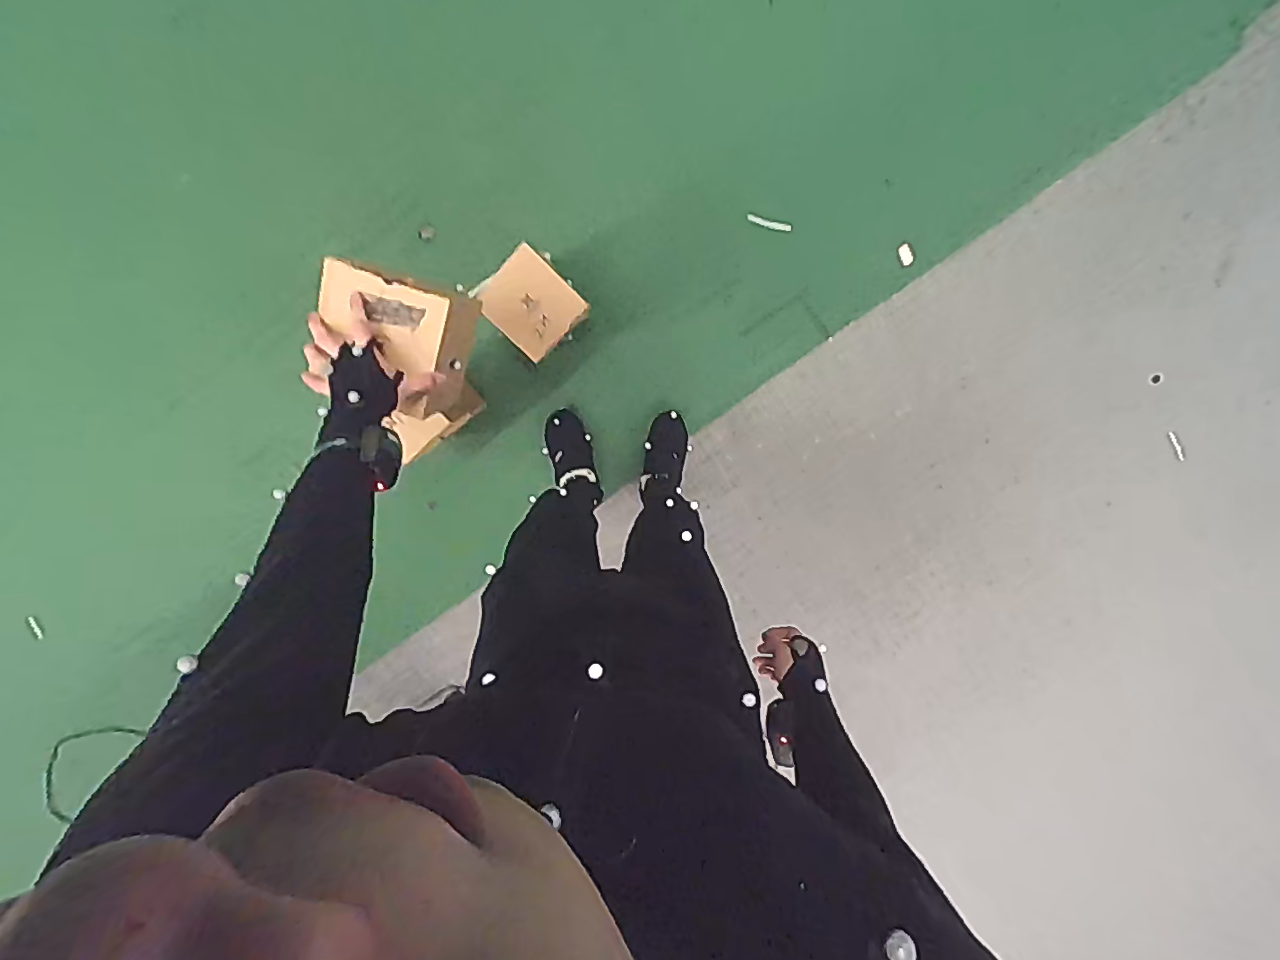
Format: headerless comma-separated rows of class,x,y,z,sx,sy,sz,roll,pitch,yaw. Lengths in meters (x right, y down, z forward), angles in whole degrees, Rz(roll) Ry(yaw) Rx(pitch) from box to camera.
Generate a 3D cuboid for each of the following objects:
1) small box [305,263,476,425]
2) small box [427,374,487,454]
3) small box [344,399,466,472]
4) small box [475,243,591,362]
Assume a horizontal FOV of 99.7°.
small box,-0.360,-0.205,0.809,0.168,0.176,0.179,18,107,-6
small box,-0.523,-0.197,1.395,0.168,0.176,0.179,-37,103,9
small box,-0.522,-0.149,1.238,0.179,0.176,0.168,-39,103,9
small box,-0.224,-0.380,1.180,0.179,0.176,0.168,43,101,-13
